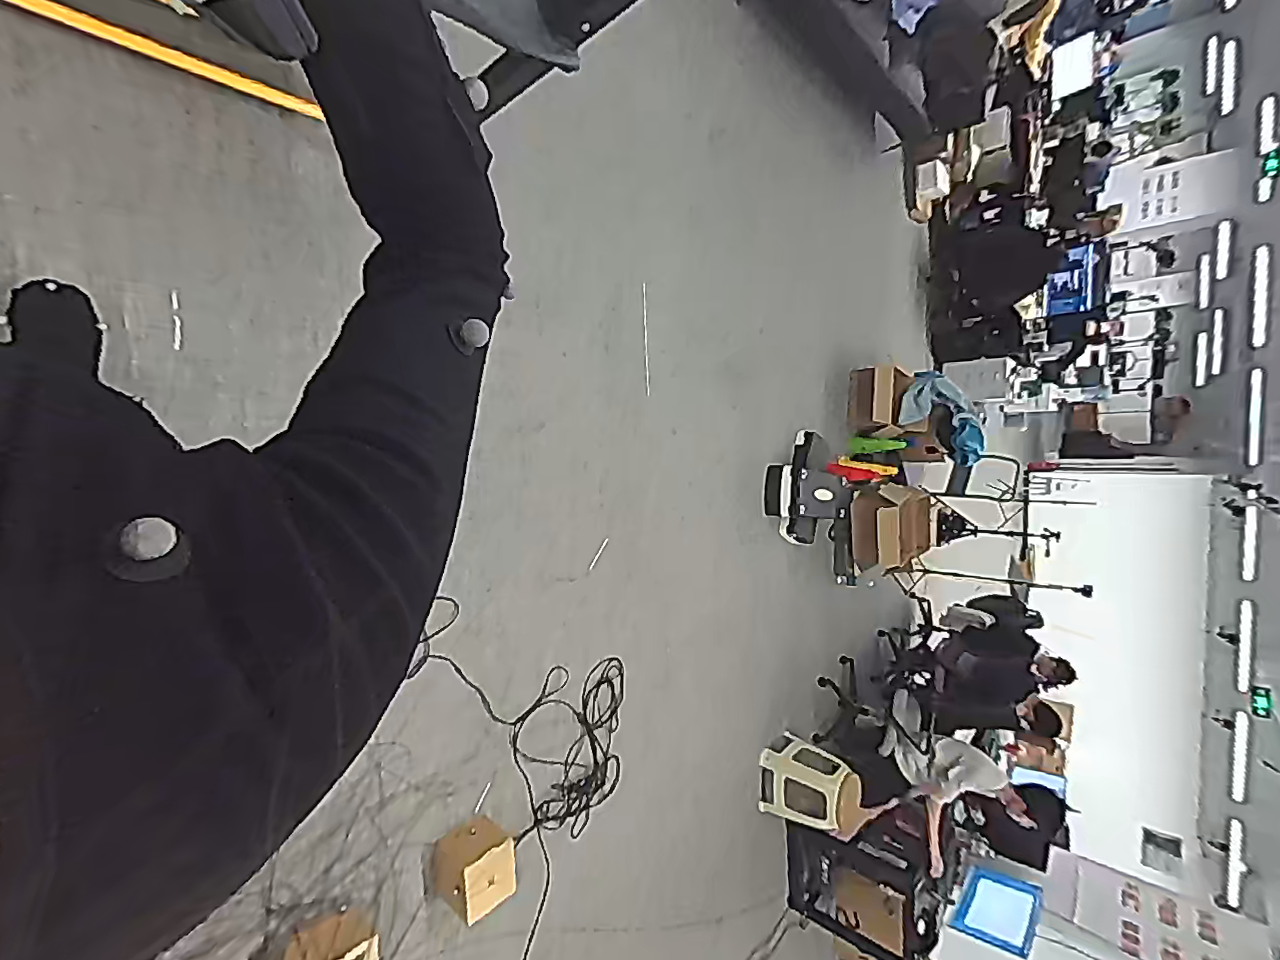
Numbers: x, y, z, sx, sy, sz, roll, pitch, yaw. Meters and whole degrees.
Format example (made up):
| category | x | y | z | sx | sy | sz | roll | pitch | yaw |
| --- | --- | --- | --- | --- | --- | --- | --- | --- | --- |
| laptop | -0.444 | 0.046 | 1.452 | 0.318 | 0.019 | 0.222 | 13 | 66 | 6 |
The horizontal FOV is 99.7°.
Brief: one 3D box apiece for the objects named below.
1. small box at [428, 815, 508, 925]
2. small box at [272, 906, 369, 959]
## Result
| category | x | y | z | sx | sy | sz | roll | pitch | yaw |
| --- | --- | --- | --- | --- | --- | --- | --- | --- | --- |
| small box | -0.519 | 1.162 | 1.626 | 0.168 | 0.176 | 0.179 | -7 | 96 | -48 |
| small box | -0.785 | 1.198 | 1.326 | 0.168 | 0.176 | 0.179 | 0 | 91 | -49 |
